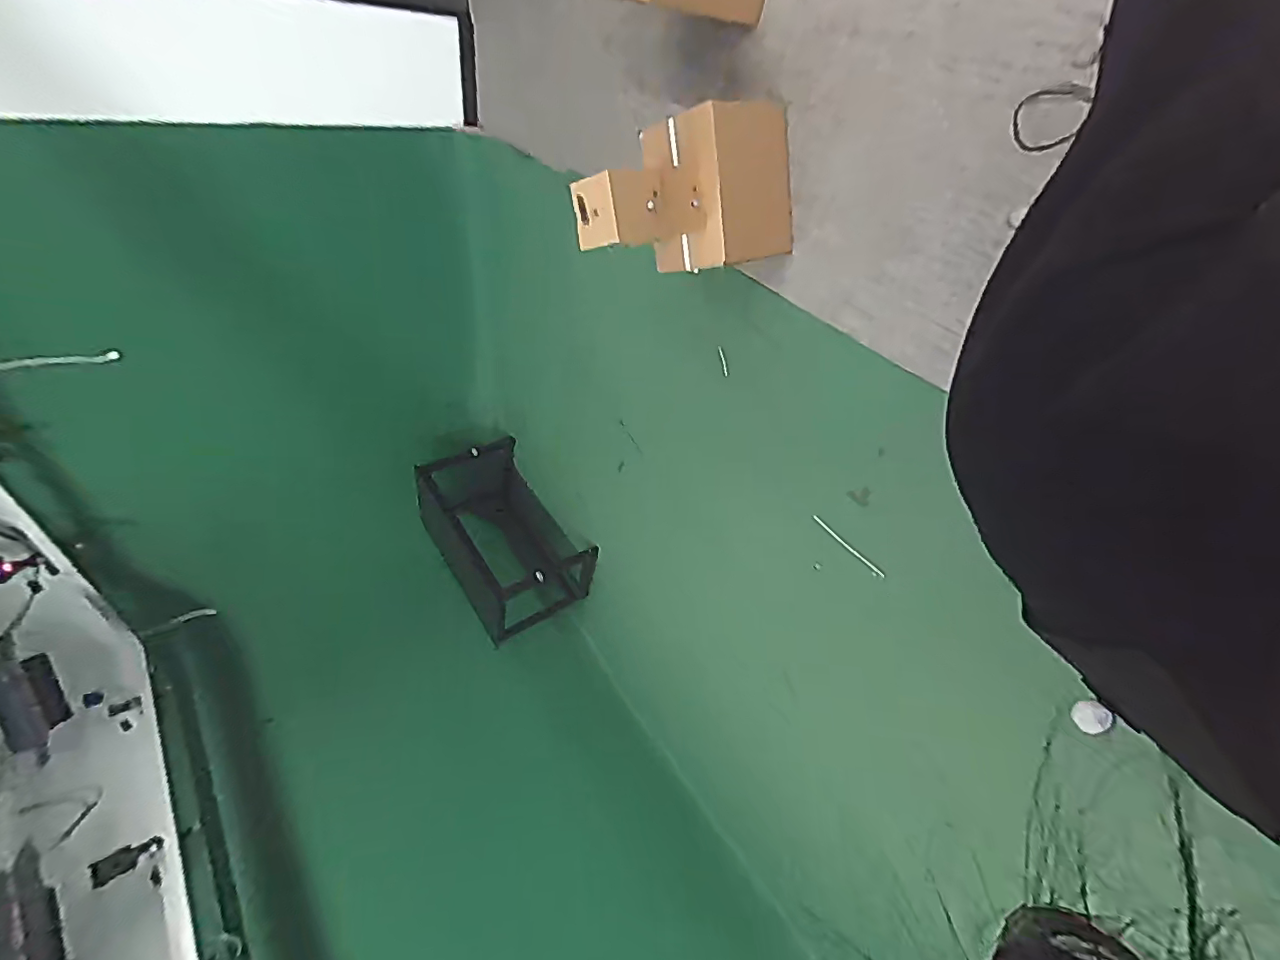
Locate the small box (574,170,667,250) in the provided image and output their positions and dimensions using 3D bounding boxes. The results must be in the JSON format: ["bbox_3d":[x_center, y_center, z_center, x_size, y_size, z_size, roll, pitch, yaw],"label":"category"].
[{"bbox_3d":[-0.050,-0.723,1.455,0.179,0.176,0.168,17,124,49],"label":"small box"}]

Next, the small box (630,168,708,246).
[{"bbox_3d":[0.070,-0.780,1.553,0.179,0.176,0.168,11,119,52],"label":"small box"}]
